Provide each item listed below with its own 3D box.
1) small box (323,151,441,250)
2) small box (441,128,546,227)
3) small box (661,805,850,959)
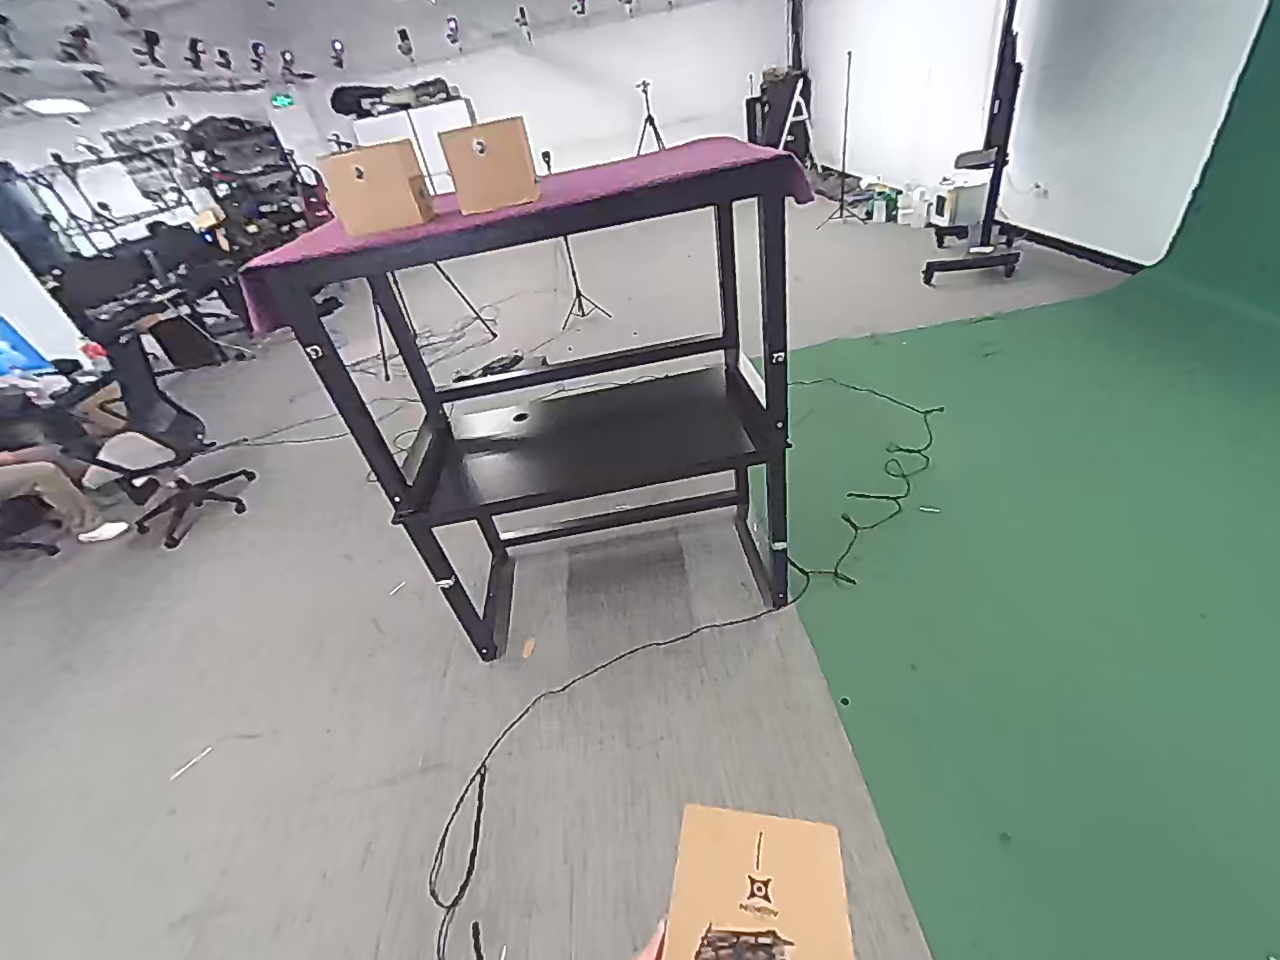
[{"bbox_3d":[-0.596,-0.657,1.274,0.179,0.176,0.168,-12,36,0],"label":"small box"},{"bbox_3d":[-0.332,-0.703,1.259,0.179,0.176,0.168,-11,35,2],"label":"small box"},{"bbox_3d":[0.118,0.475,0.544,0.168,0.176,0.179,1,22,13],"label":"small box"}]
